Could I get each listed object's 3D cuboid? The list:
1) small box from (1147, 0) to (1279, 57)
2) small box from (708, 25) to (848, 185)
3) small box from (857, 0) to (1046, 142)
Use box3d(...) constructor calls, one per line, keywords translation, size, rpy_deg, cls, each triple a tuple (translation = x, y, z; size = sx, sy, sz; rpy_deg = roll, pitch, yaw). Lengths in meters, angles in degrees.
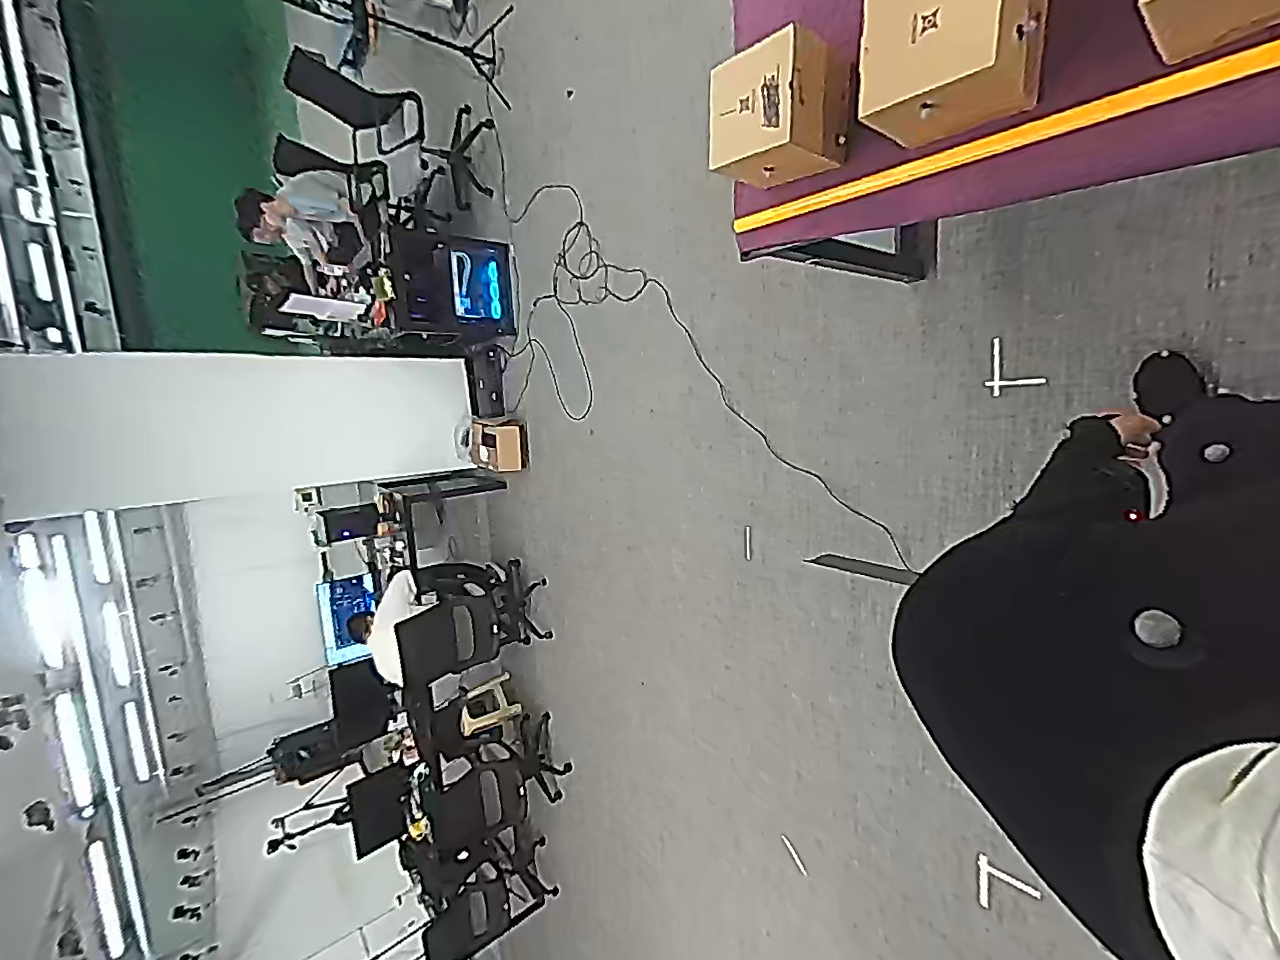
box3d(translation=(0.602, -0.562, 0.513), size=(0.168, 0.176, 0.179), rpy_deg=(5, 100, 51), cls="small box")
box3d(translation=(0.241, -0.637, 0.945), size=(0.179, 0.176, 0.168), rpy_deg=(15, 109, 49), cls="small box")
box3d(translation=(0.423, -0.592, 0.733), size=(0.179, 0.176, 0.168), rpy_deg=(12, 107, 50), cls="small box")
